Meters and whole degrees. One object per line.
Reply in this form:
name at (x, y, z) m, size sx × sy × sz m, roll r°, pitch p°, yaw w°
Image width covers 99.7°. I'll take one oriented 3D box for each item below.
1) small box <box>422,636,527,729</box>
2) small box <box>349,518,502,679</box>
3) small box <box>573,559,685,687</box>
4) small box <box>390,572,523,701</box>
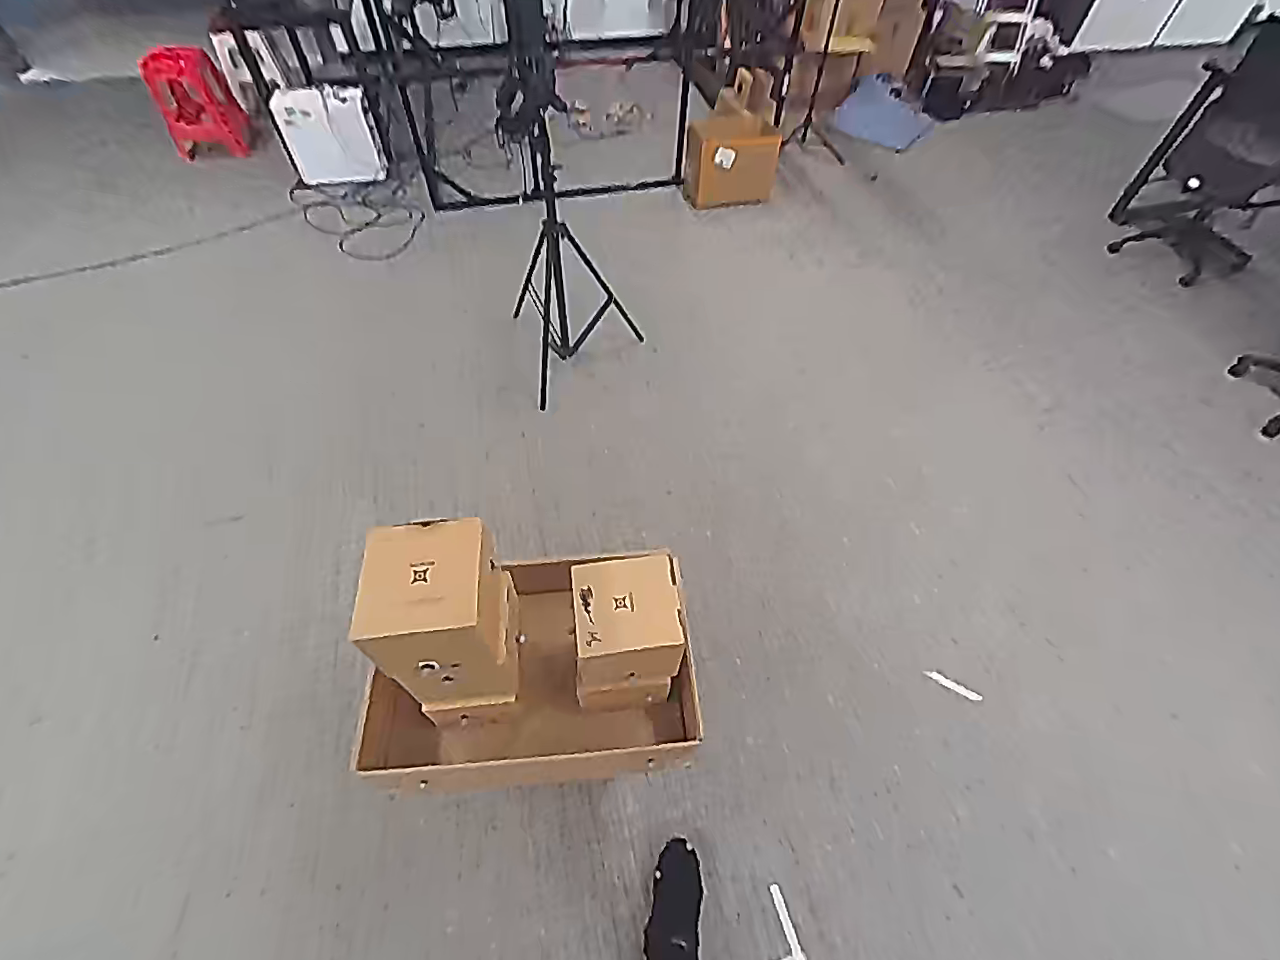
small box at (-0.316, 0.383, 1.071) m, size 0.168 × 0.176 × 0.179 m, roll -4°, pitch 53°, yaw -6°
small box at (-0.306, 0.179, 0.814) m, size 0.168 × 0.176 × 0.179 m, roll -5°, pitch 52°, yaw -6°
small box at (-0.025, 0.258, 0.966) m, size 0.179 × 0.176 × 0.168 m, roll -5°, pitch 54°, yaw -5°
small box at (-0.307, 0.277, 0.945) m, size 0.179 × 0.176 × 0.168 m, roll -3°, pitch 53°, yaw -5°
